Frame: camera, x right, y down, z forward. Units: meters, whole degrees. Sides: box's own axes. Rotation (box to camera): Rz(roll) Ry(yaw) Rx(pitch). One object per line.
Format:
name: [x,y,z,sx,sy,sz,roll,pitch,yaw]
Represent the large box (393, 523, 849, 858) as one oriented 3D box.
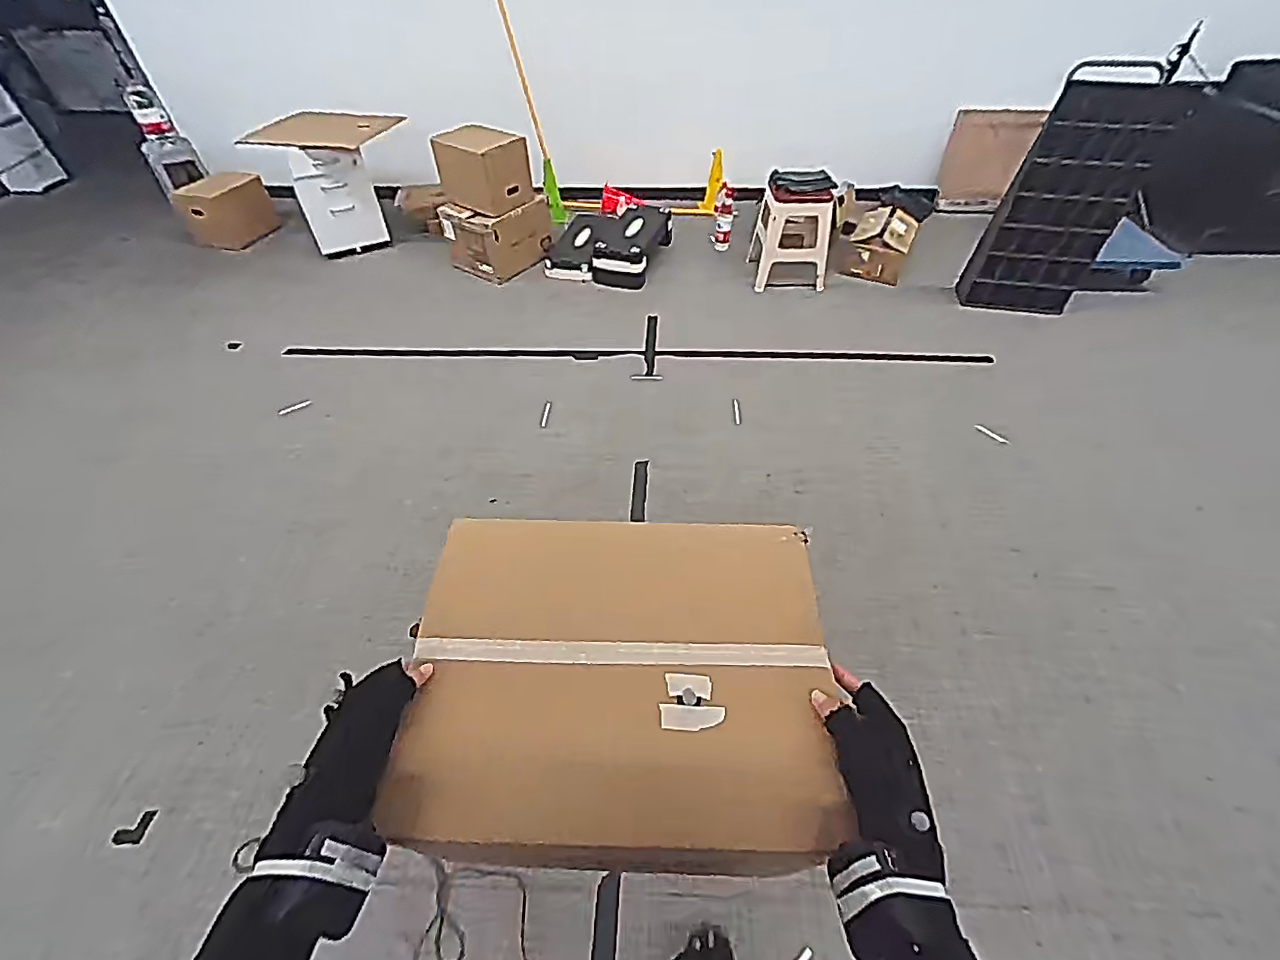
large box: [-0.017,0.268,0.671,0.408,0.320,0.320,2,52,1]
